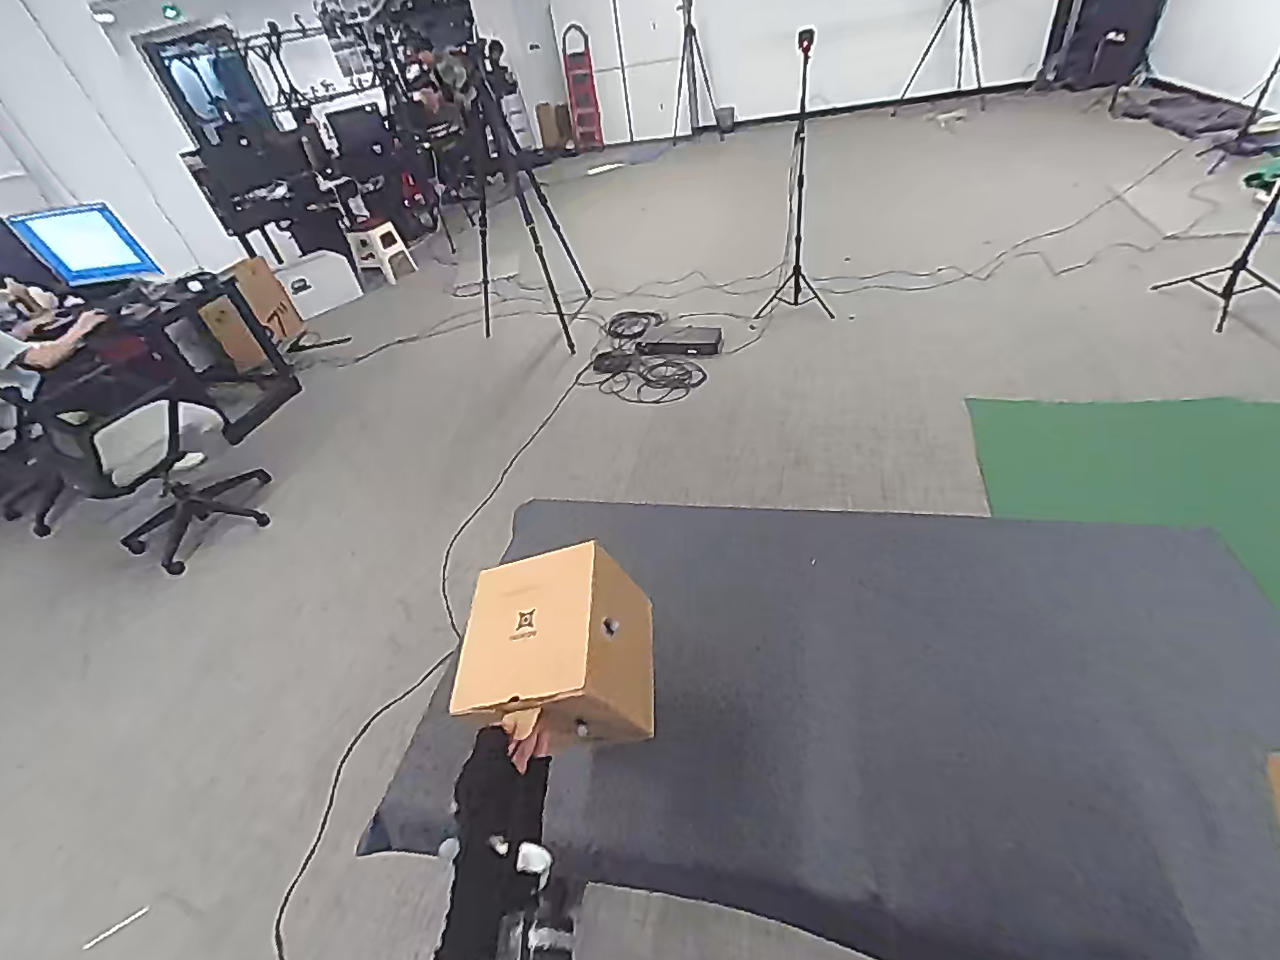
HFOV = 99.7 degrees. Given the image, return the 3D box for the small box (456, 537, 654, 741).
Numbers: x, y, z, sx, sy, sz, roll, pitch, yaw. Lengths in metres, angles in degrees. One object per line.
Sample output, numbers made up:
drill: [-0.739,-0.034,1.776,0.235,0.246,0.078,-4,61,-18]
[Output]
small box: [-0.088,0.200,0.652,0.168,0.176,0.179,-16,45,17]
